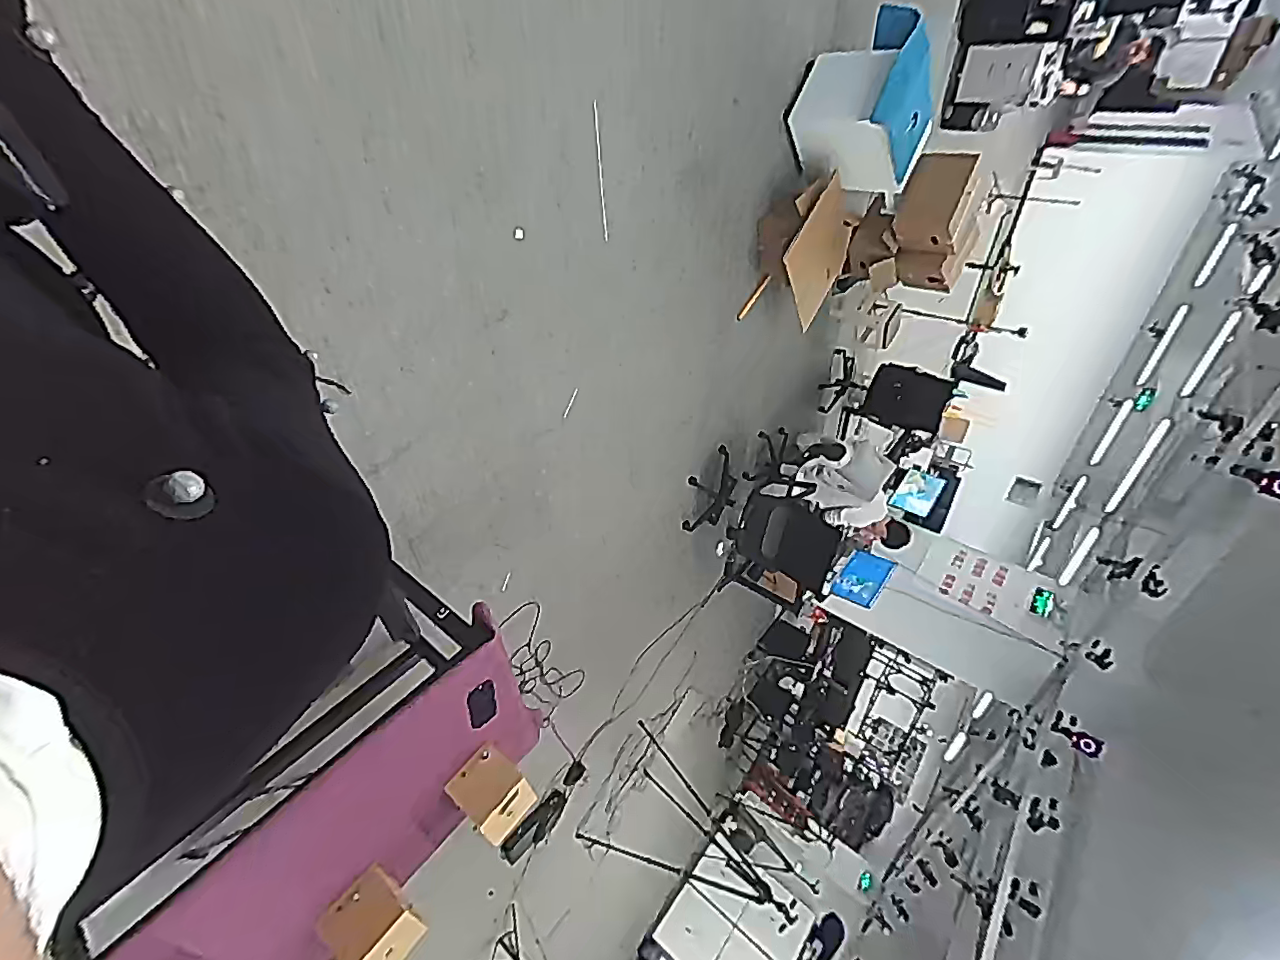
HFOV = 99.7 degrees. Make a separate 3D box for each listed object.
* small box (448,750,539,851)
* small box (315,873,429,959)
[{"bbox_3d":[-0.425,0.919,1.566,0.168,0.176,0.179,-41,142,-32],"label":"small box"},{"bbox_3d":[-0.671,1.140,1.360,0.168,0.176,0.179,-40,140,-36],"label":"small box"}]
